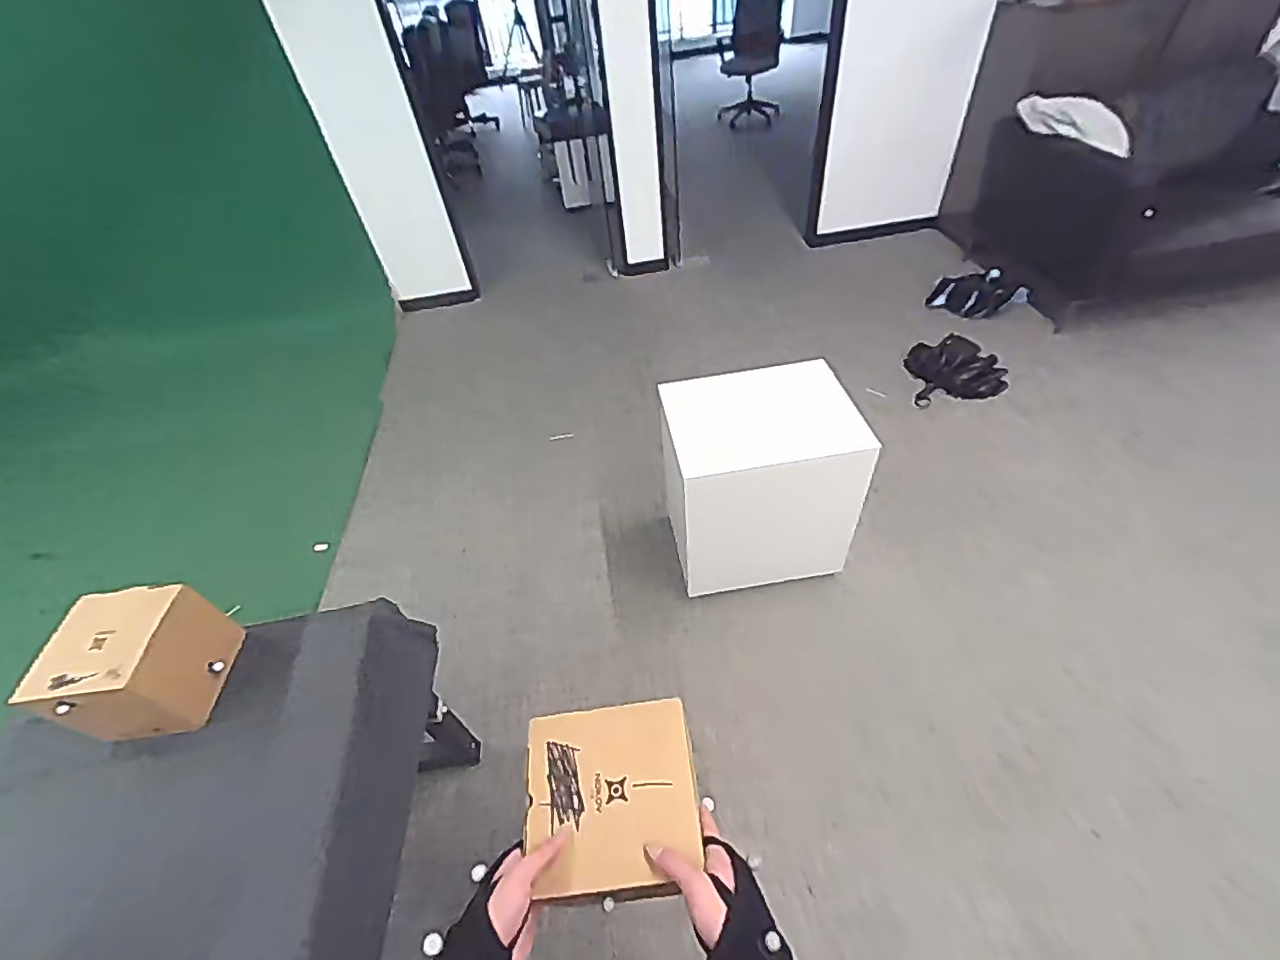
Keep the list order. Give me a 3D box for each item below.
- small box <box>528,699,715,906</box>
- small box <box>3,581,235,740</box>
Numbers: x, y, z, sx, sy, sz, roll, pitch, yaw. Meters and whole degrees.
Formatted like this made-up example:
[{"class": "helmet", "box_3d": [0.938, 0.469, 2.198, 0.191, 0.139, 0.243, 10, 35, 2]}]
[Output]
[{"class": "small box", "box_3d": [-0.014, 0.364, 0.605, 0.179, 0.176, 0.168, -8, 50, 1]}, {"class": "small box", "box_3d": [-0.791, 0.284, 0.853, 0.168, 0.176, 0.179, -7, 46, -1]}]
